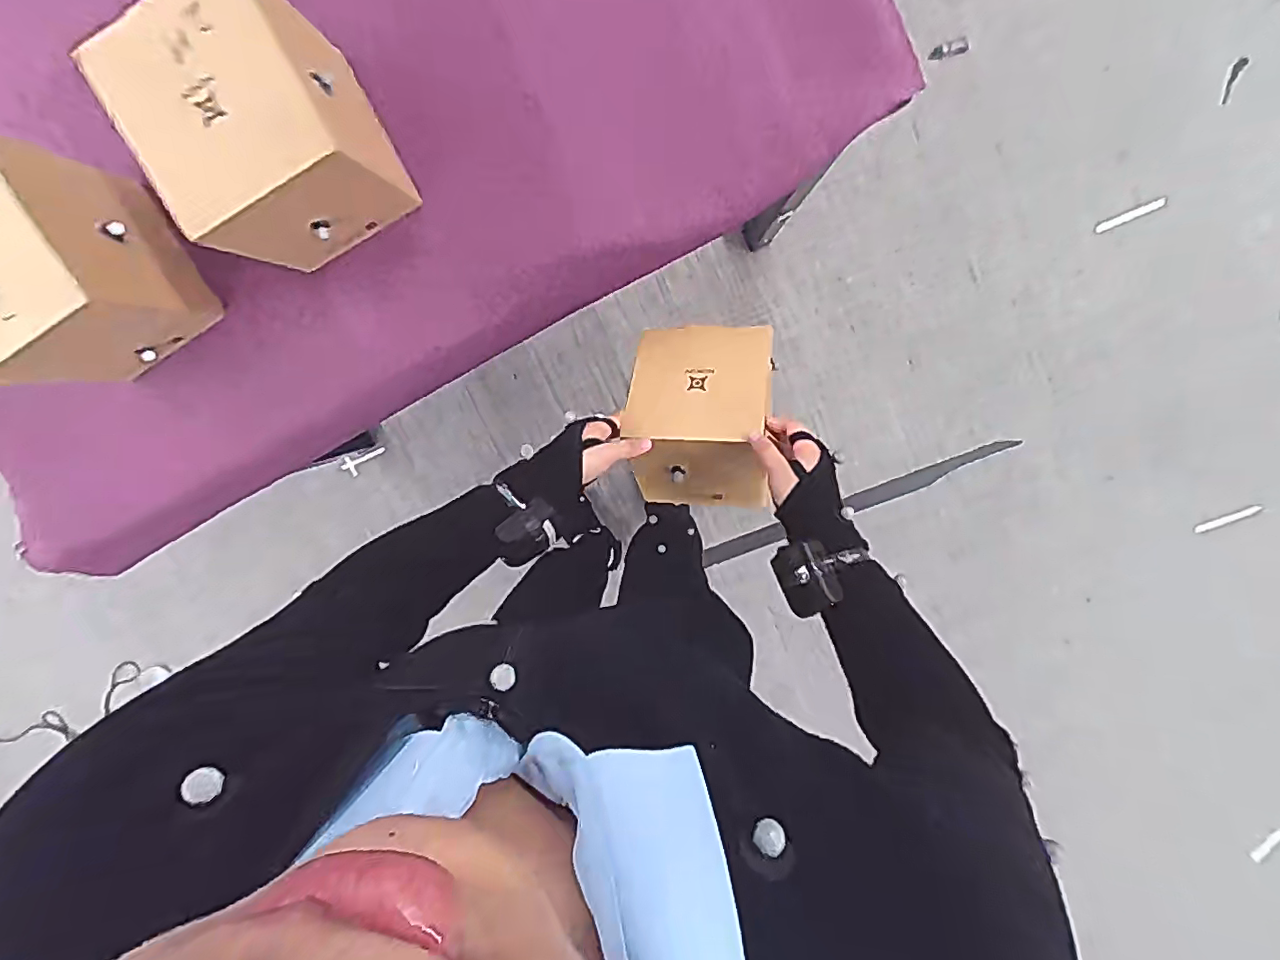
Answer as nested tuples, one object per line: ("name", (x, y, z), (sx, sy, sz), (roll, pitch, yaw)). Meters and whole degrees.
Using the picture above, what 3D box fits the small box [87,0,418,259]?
("small box", (-0.361, -0.344, 0.544), (0.168, 0.176, 0.179), (-26, 99, 7))
